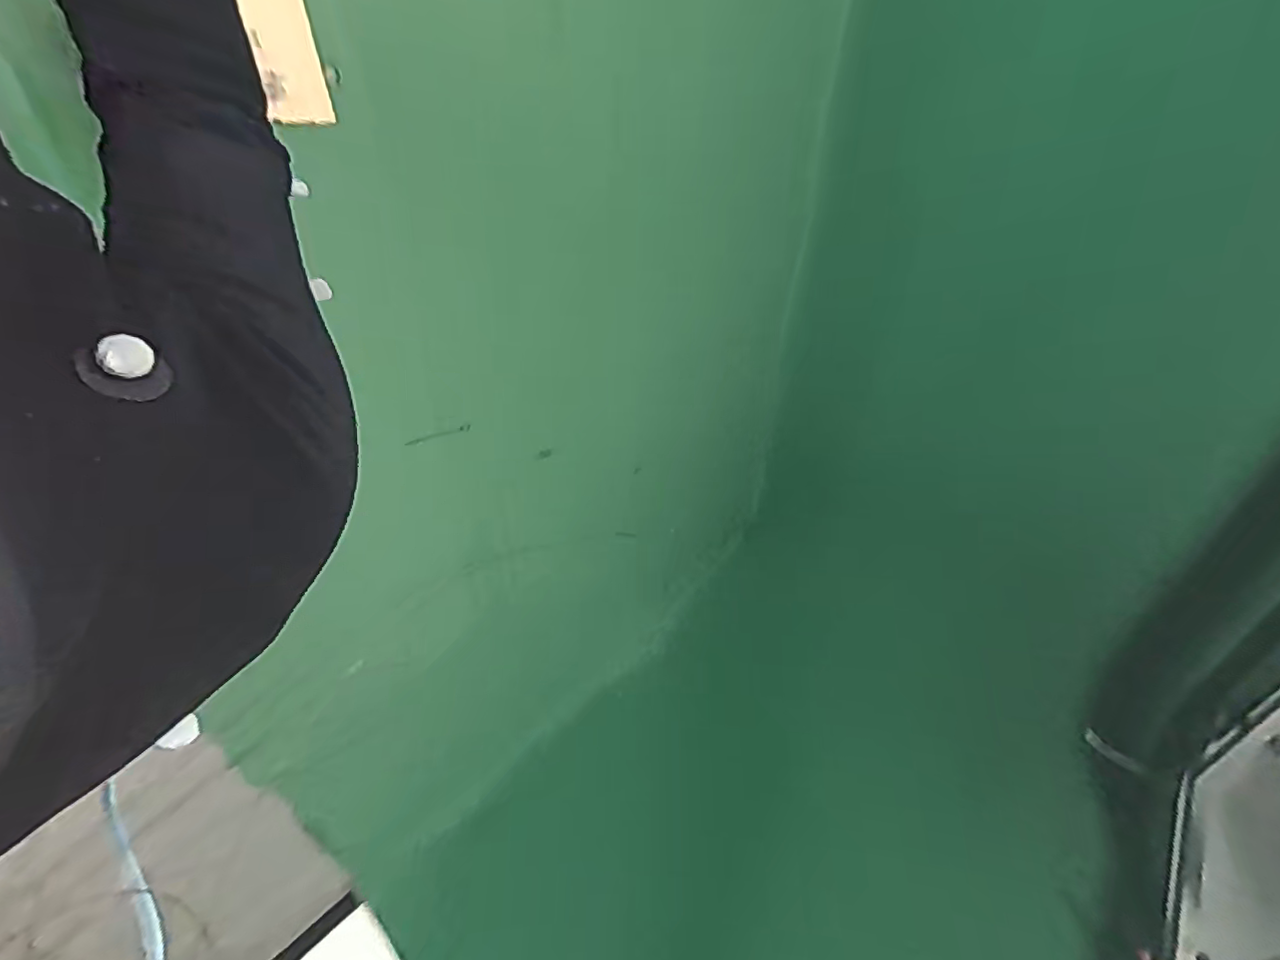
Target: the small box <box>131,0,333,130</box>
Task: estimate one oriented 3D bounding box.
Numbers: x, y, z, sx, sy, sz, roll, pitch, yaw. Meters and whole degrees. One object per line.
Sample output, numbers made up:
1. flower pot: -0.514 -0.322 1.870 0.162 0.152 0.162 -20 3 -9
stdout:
1. small box: -0.573 -0.604 0.761 0.168 0.176 0.179 -32 136 -36
